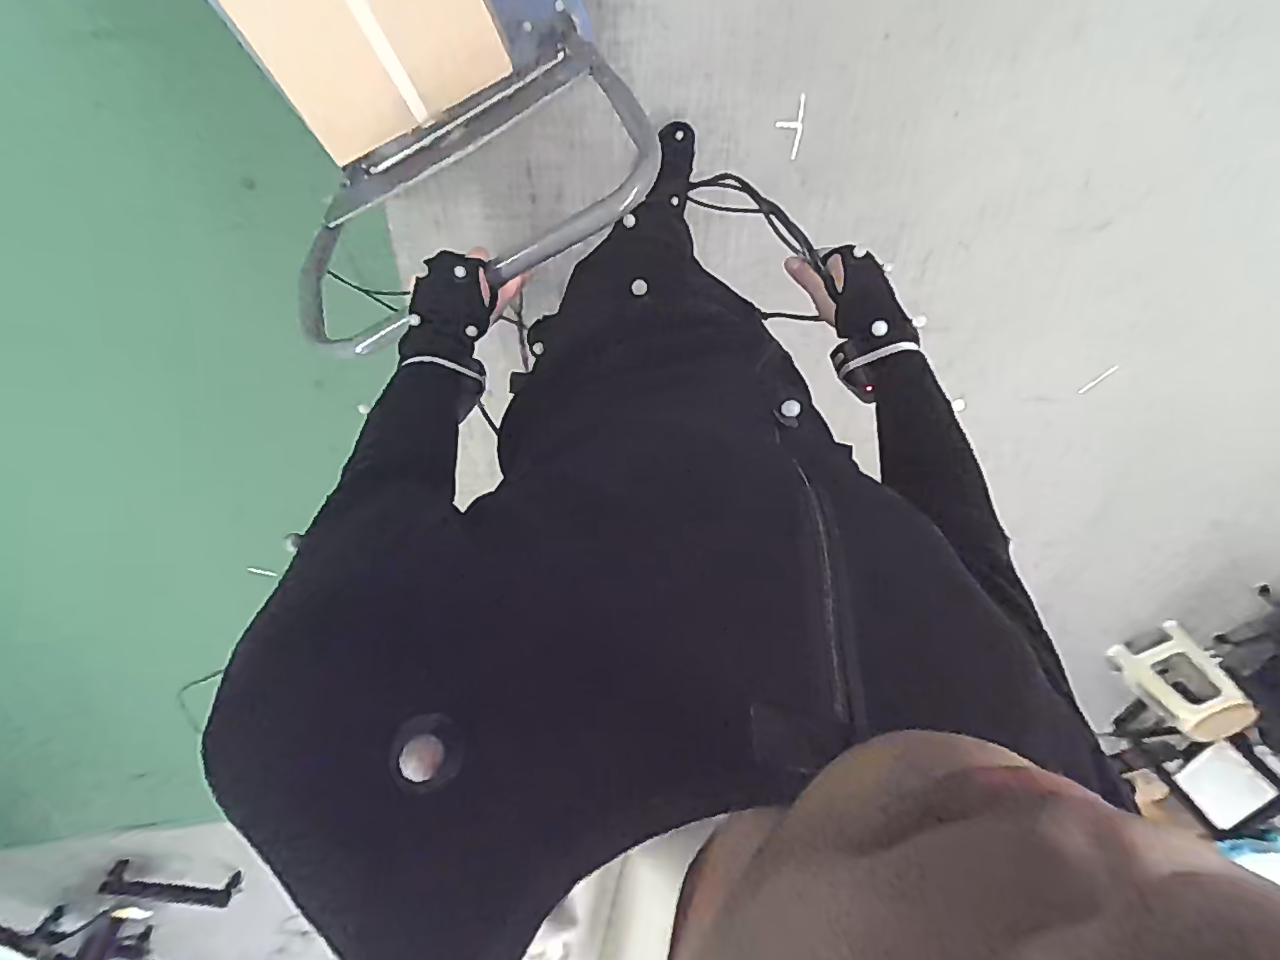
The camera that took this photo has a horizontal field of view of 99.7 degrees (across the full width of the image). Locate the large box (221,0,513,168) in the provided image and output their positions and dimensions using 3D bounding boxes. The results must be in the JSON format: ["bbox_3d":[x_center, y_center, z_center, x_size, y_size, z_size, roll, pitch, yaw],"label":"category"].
[{"bbox_3d":[-0.426,-0.772,0.811,0.320,0.320,0.408,-23,132,7],"label":"large box"}]
